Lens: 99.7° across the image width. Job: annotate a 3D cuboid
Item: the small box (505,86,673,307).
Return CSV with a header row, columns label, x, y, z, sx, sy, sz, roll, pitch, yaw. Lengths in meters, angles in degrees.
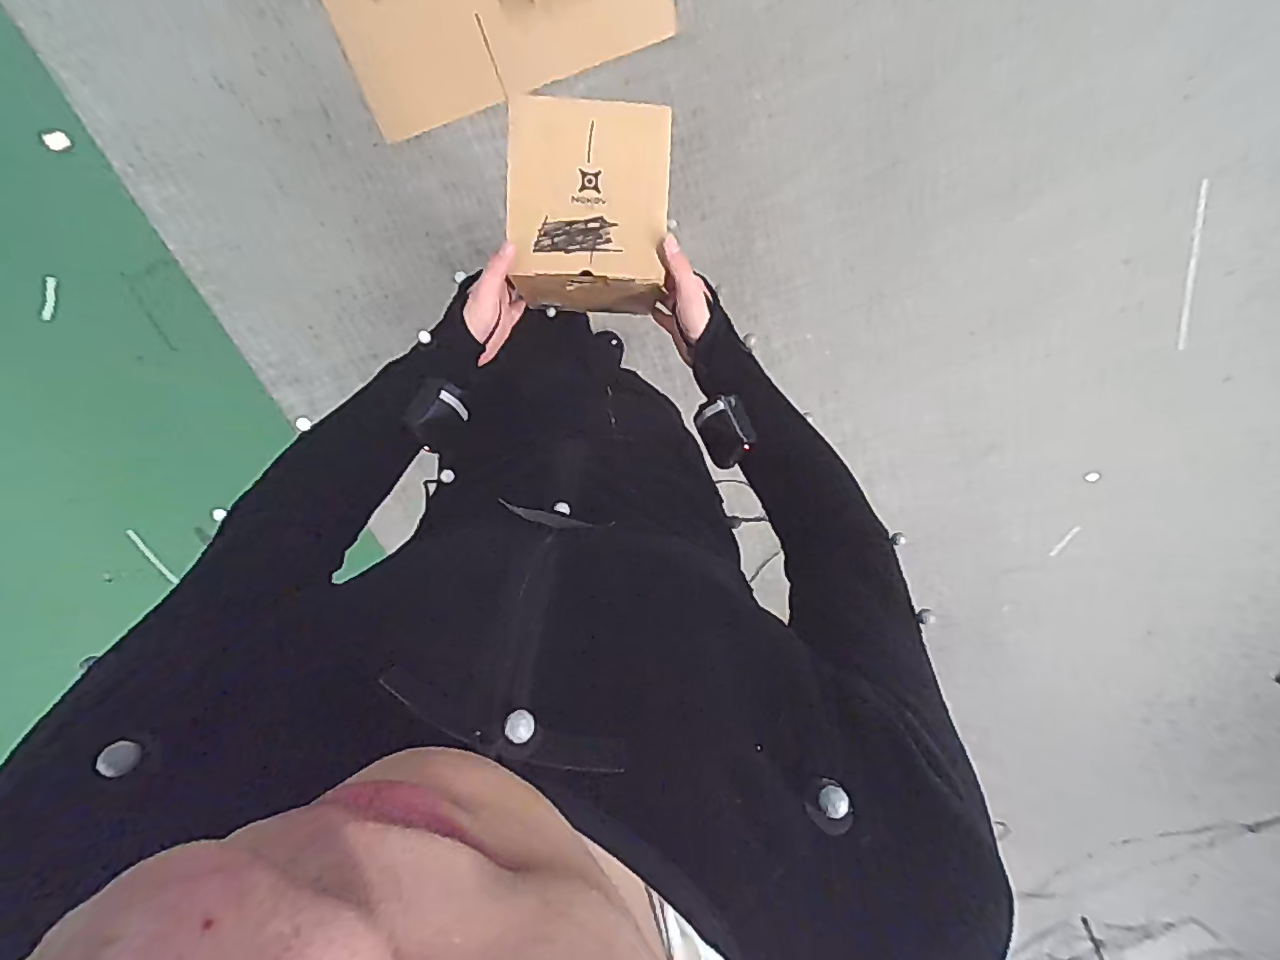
label,x,y,z,sx,sy,sz,roll,pitch,yaw
small box,-0.054,-0.305,0.620,0.168,0.176,0.179,1,94,-3
